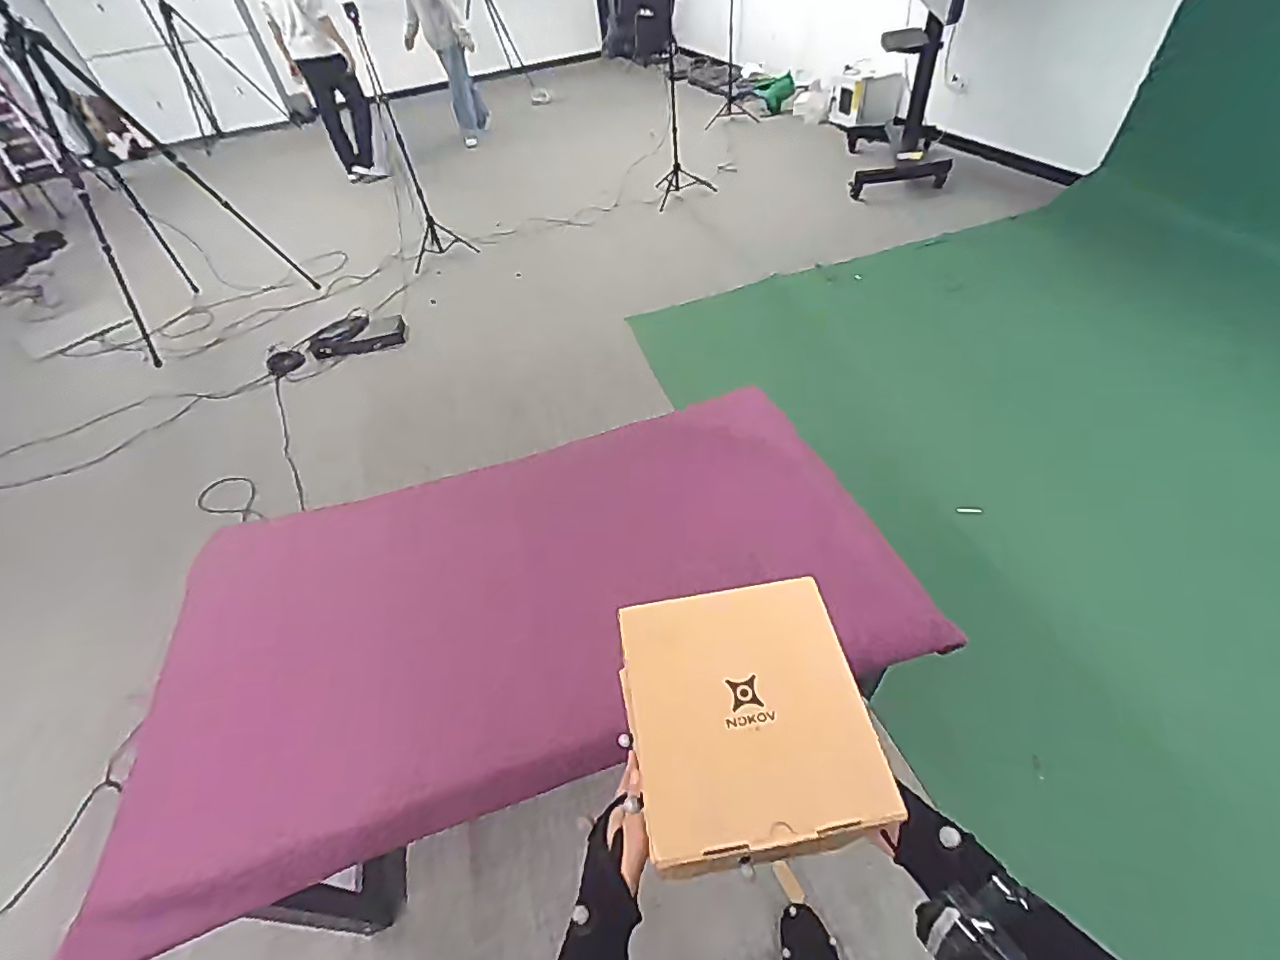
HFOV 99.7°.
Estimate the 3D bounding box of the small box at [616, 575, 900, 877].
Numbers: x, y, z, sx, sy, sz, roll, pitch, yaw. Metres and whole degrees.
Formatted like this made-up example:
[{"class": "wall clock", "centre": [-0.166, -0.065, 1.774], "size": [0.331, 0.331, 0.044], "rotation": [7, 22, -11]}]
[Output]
[{"class": "small box", "centre": [0.074, 0.204, 0.446], "size": [0.168, 0.176, 0.179], "rotation": [-9, 51, -3]}]
